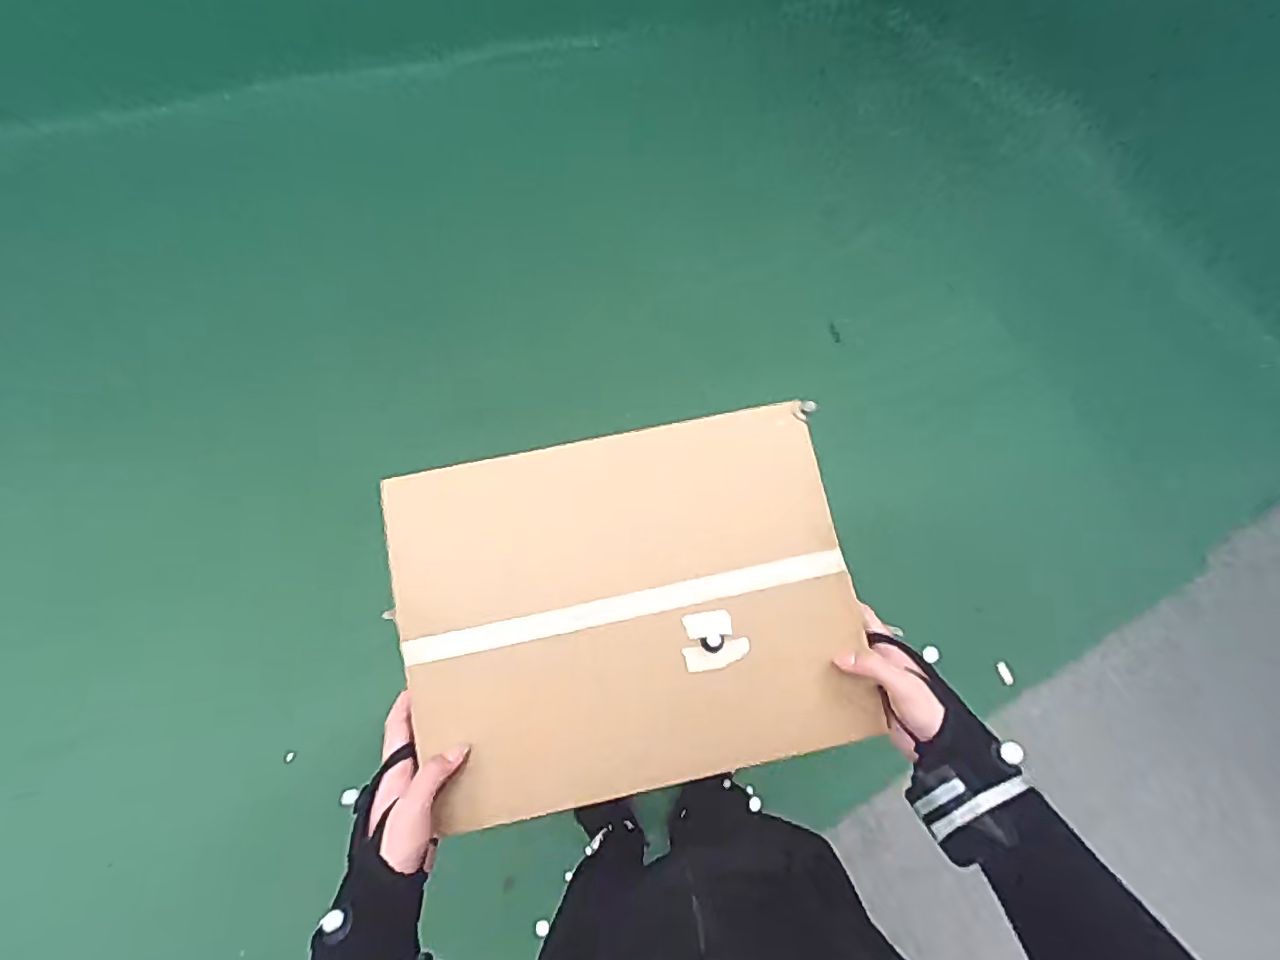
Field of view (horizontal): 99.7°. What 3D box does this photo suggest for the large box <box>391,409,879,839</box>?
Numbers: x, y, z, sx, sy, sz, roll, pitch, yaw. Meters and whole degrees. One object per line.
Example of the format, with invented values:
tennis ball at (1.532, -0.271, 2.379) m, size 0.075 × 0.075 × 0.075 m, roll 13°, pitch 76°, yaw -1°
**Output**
large box at (-0.015, 0.142, 0.640) m, size 0.408 × 0.320 × 0.320 m, roll -11°, pitch 82°, yaw -5°
